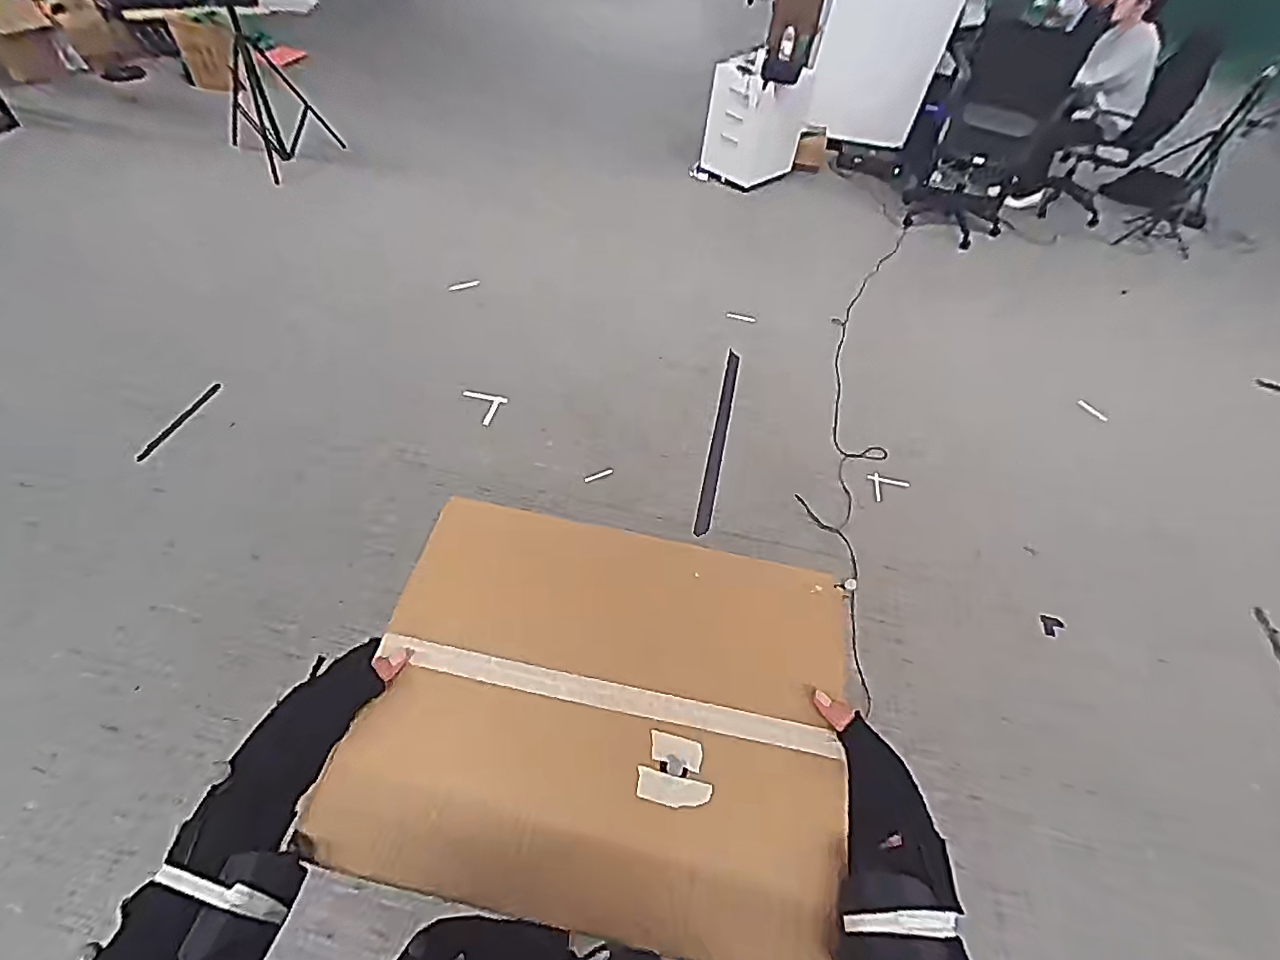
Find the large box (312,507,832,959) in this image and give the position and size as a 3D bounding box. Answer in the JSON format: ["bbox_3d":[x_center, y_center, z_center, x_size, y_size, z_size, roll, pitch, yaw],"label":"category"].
[{"bbox_3d":[-0.040,0.269,0.603,0.408,0.320,0.320,12,58,3],"label":"large box"}]
